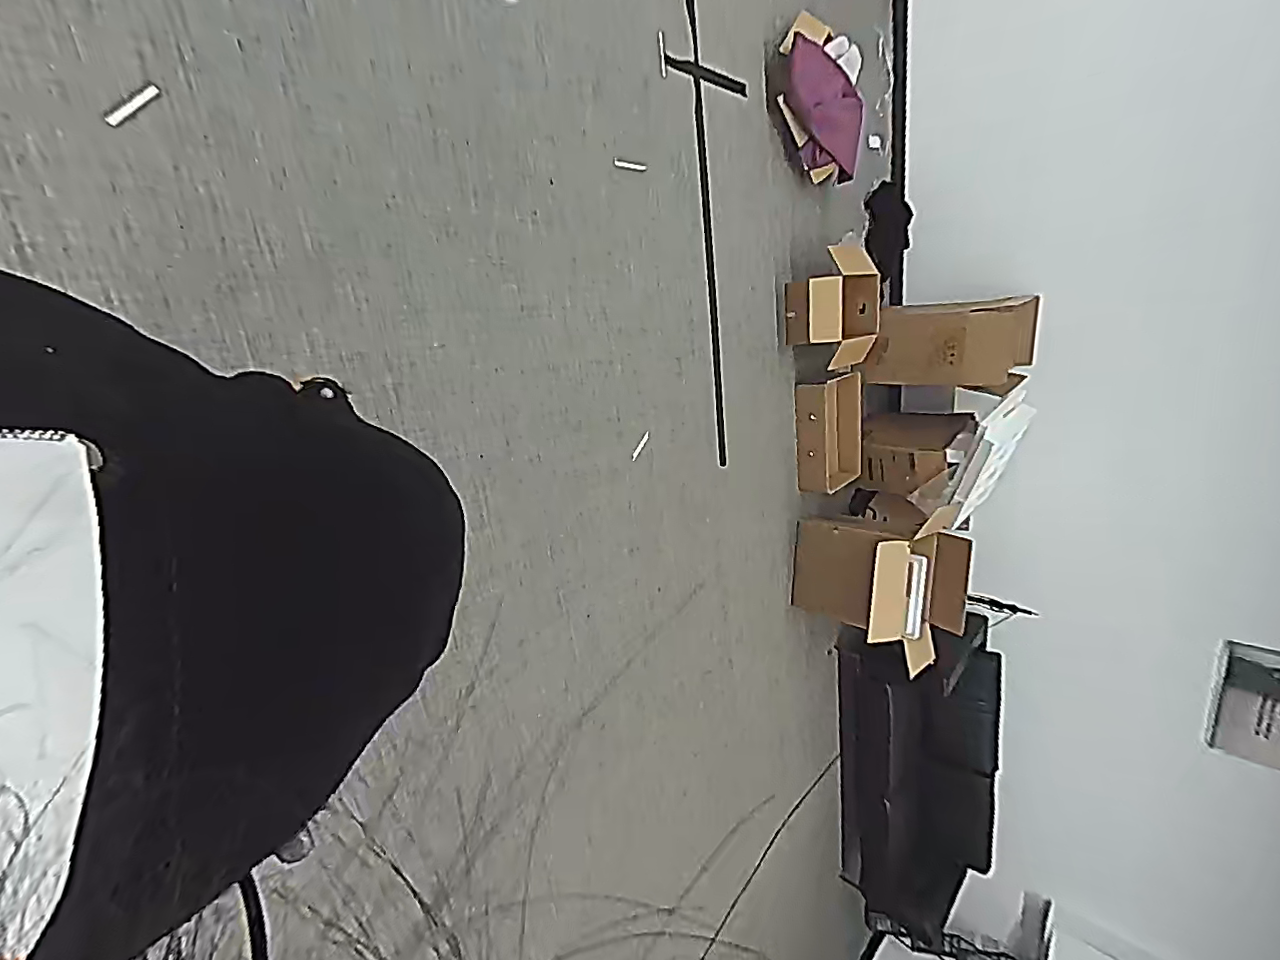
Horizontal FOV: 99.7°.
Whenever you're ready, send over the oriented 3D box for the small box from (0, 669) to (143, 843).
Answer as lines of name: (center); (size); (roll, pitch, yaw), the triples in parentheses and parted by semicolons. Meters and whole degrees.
small box: (-0.966, 0.435, 0.898); (0.168, 0.176, 0.179); (-25, 114, -41)
